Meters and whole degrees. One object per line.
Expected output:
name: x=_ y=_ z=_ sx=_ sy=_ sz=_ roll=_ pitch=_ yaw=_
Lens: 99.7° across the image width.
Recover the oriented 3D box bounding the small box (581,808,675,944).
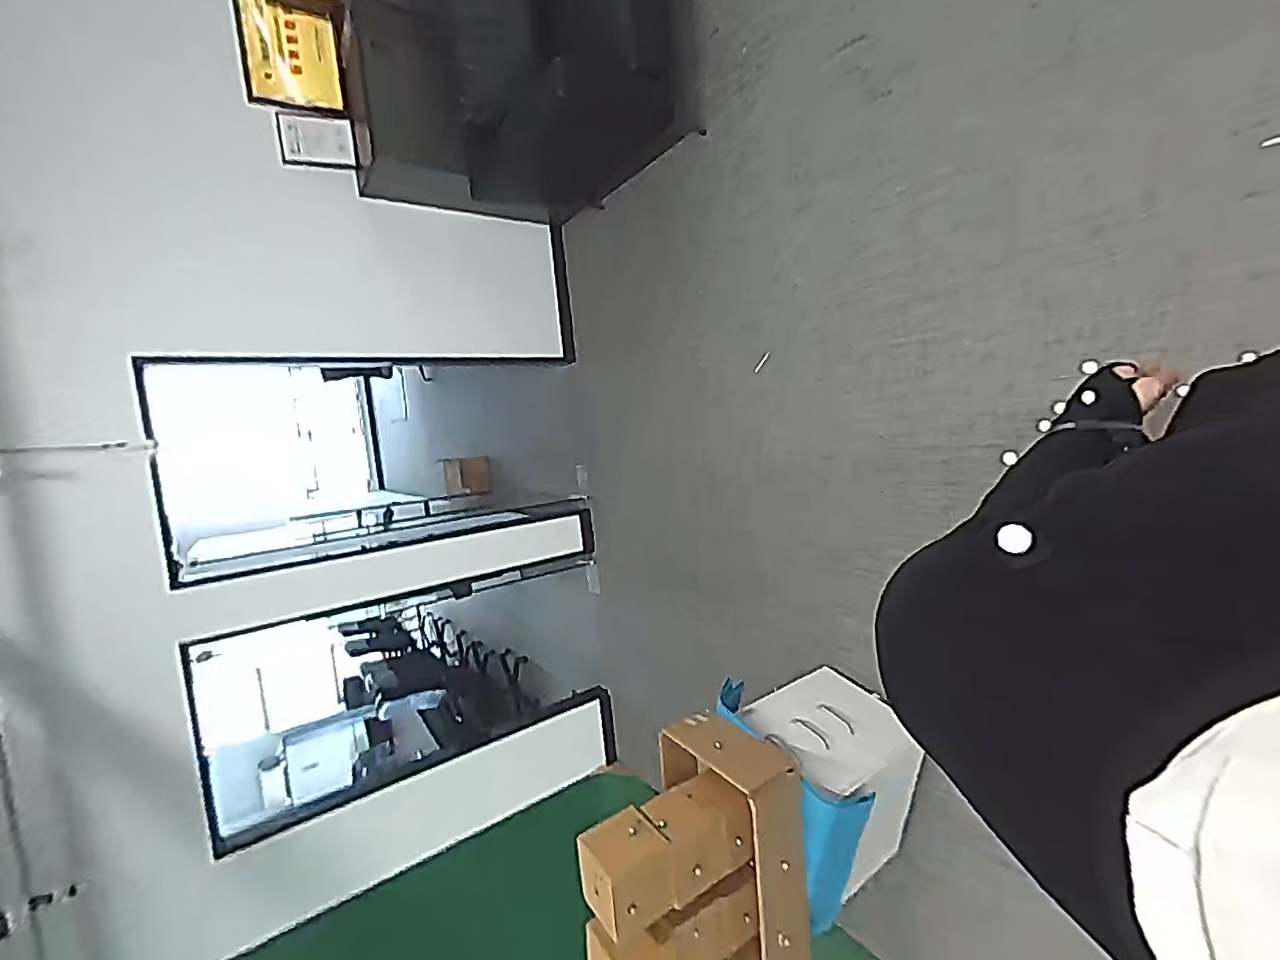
small box: x=-0.027 y=0.963 z=1.334 sx=0.168 sy=0.176 sz=0.179 roll=6 pitch=102 yaw=55

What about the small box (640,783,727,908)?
small box: x=0.113 y=0.948 z=1.420 sx=0.168 sy=0.176 sz=0.179 roll=3 pitch=101 yaw=56
